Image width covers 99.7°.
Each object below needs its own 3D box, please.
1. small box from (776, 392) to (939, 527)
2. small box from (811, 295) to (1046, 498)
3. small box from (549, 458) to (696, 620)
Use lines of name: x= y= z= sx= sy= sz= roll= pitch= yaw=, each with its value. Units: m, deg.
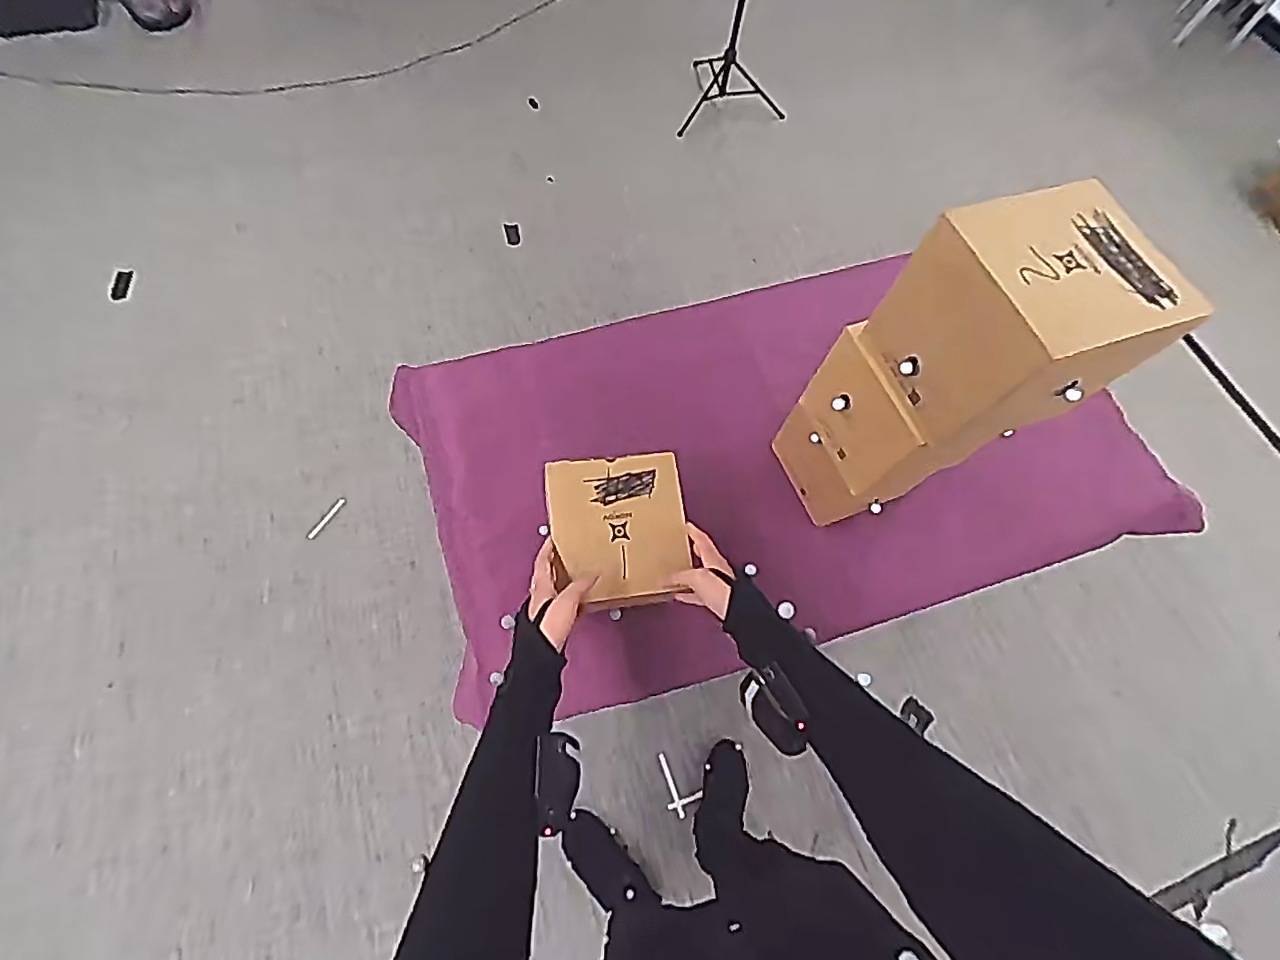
small box: x=0.341 y=-0.047 z=0.841 sx=0.179 sy=0.176 sz=0.168 roll=-19 pitch=69 yaw=-13
small box: x=0.339 y=-0.097 z=0.684 sx=0.179 sy=0.176 sz=0.168 roll=-19 pitch=69 yaw=-12
small box: x=-0.035 y=0.085 z=0.730 sx=0.168 sy=0.176 sz=0.179 roll=-5 pitch=72 yaw=-10
